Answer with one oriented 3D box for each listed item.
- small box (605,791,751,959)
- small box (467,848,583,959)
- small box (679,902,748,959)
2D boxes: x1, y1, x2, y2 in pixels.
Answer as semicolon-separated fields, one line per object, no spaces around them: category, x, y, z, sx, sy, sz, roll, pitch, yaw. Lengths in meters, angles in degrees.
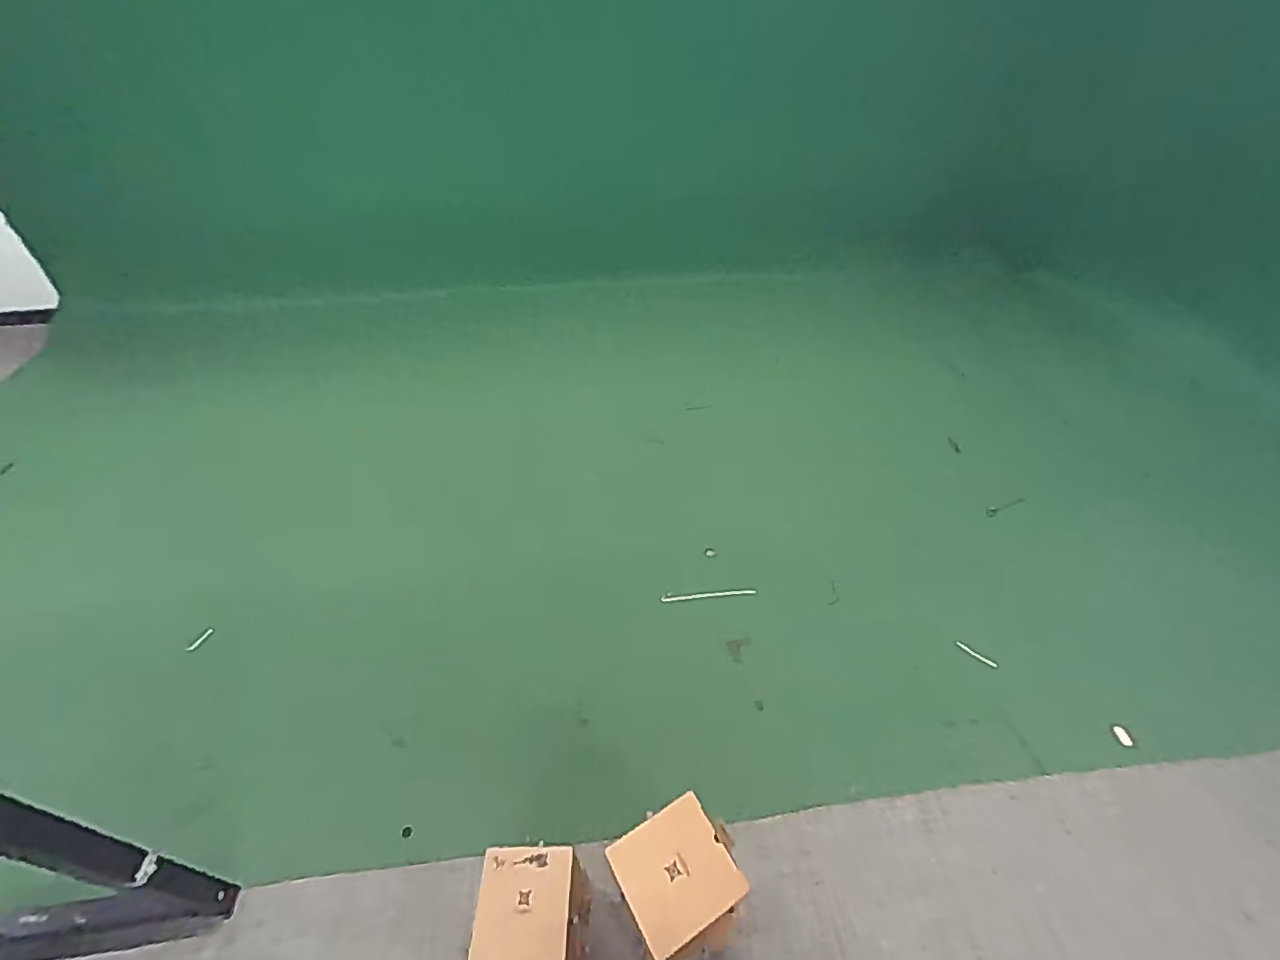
small box;0.059;0.665;0.897;0.179;0.176;0.168;-23;49;-22
small box;-0.200;0.800;0.994;0.168;0.176;0.179;-2;44;2
small box;0.077;0.784;1.009;0.179;0.176;0.168;-19;48;-19
